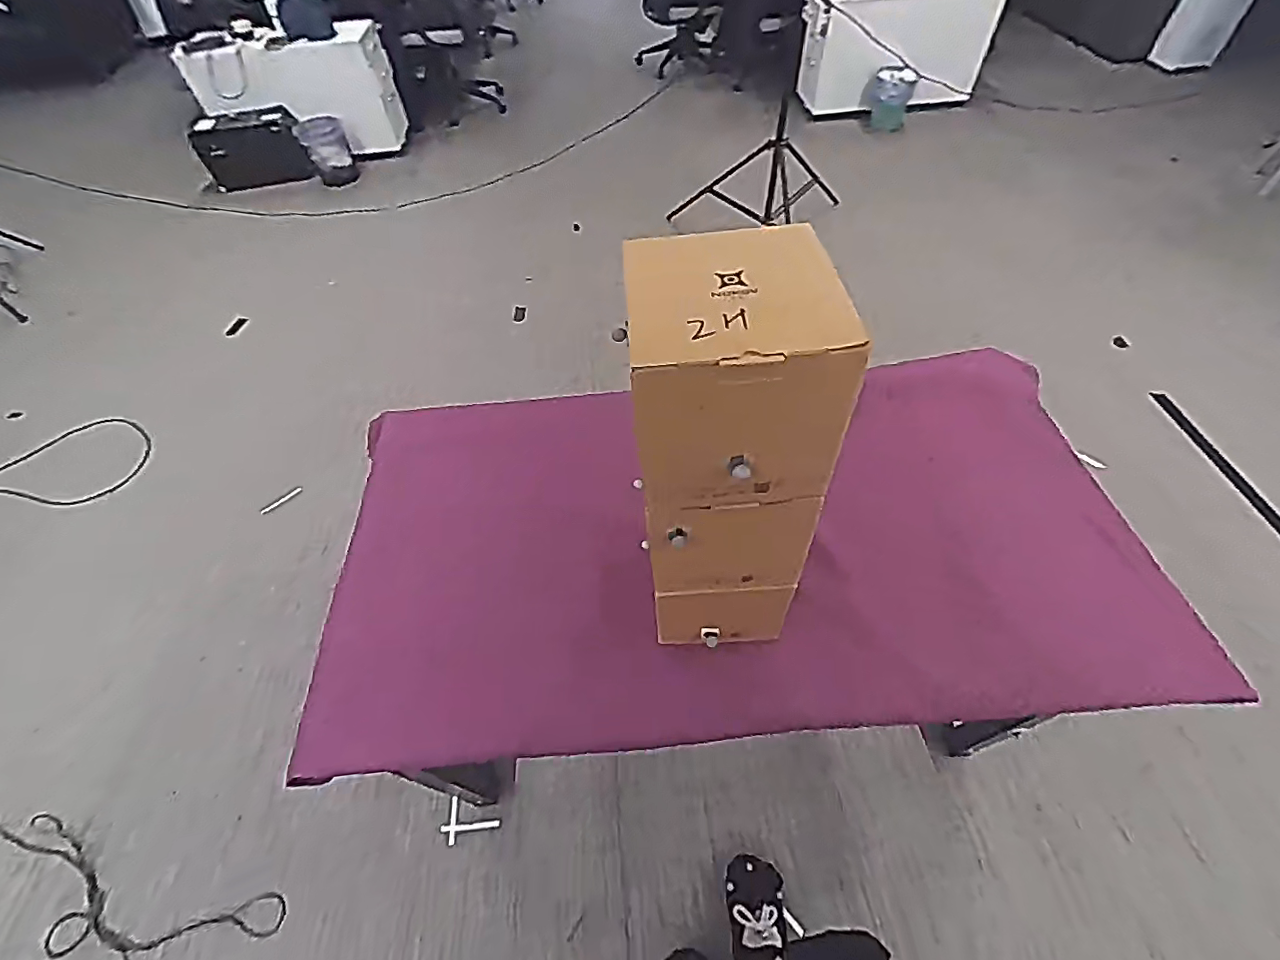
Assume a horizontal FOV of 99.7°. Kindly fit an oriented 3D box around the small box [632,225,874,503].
[{"bbox_3d":[0.080,-0.100,0.483,0.168,0.176,0.179,-5,51,2],"label":"small box"}]

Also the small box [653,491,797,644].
[{"bbox_3d":[0.102,0.107,0.738,0.168,0.176,0.179,-4,53,2],"label":"small box"}]
